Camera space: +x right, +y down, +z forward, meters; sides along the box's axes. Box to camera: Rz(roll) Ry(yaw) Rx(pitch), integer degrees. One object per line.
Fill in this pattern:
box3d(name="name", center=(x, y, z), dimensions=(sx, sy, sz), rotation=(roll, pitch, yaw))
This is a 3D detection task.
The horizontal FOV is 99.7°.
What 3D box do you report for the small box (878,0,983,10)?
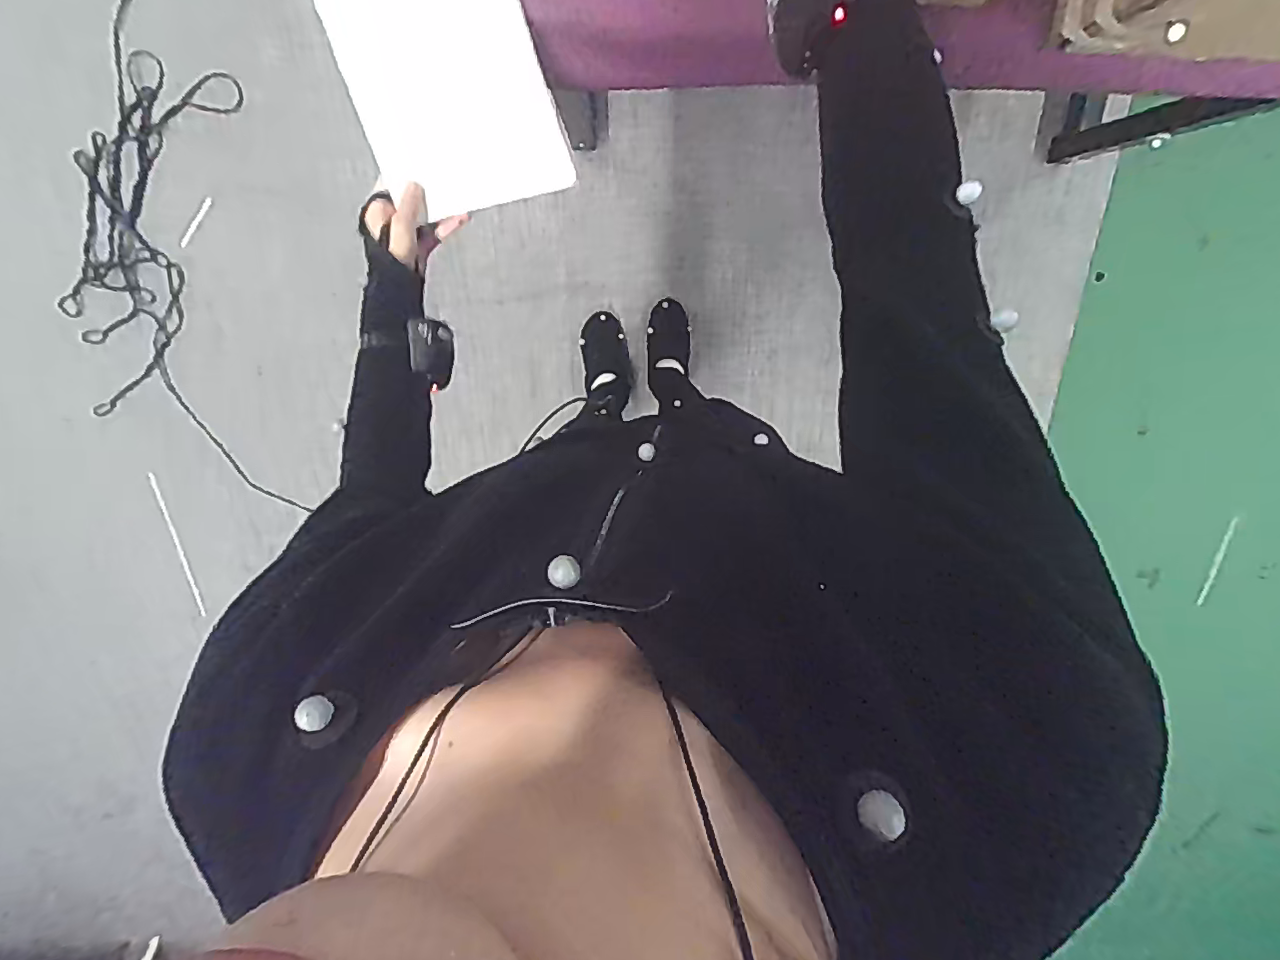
box3d(name="small box", center=(0.295, -0.568, 0.487), dimensions=(0.168, 0.176, 0.179), rotation=(1, 109, -3))
